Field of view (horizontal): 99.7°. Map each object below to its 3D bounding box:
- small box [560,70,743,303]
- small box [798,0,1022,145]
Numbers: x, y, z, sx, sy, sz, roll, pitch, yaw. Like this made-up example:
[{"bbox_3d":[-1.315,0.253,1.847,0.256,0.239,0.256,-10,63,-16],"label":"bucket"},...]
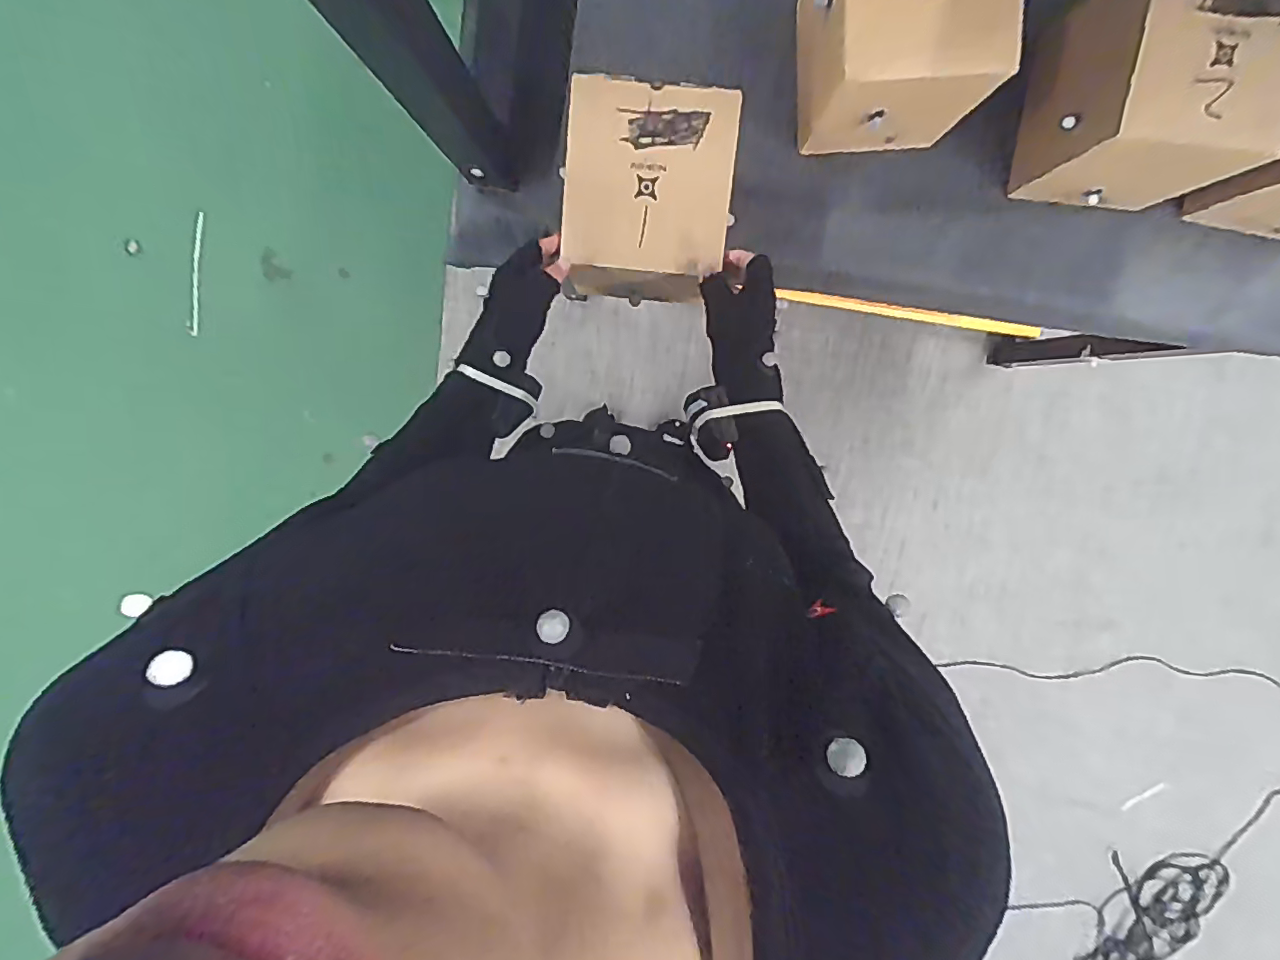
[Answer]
[{"bbox_3d":[0.010,-0.310,0.608,0.168,0.176,0.179,6,99,0],"label":"small box"},{"bbox_3d":[0.273,-0.482,0.577,0.168,0.176,0.179,-2,99,2],"label":"small box"}]
